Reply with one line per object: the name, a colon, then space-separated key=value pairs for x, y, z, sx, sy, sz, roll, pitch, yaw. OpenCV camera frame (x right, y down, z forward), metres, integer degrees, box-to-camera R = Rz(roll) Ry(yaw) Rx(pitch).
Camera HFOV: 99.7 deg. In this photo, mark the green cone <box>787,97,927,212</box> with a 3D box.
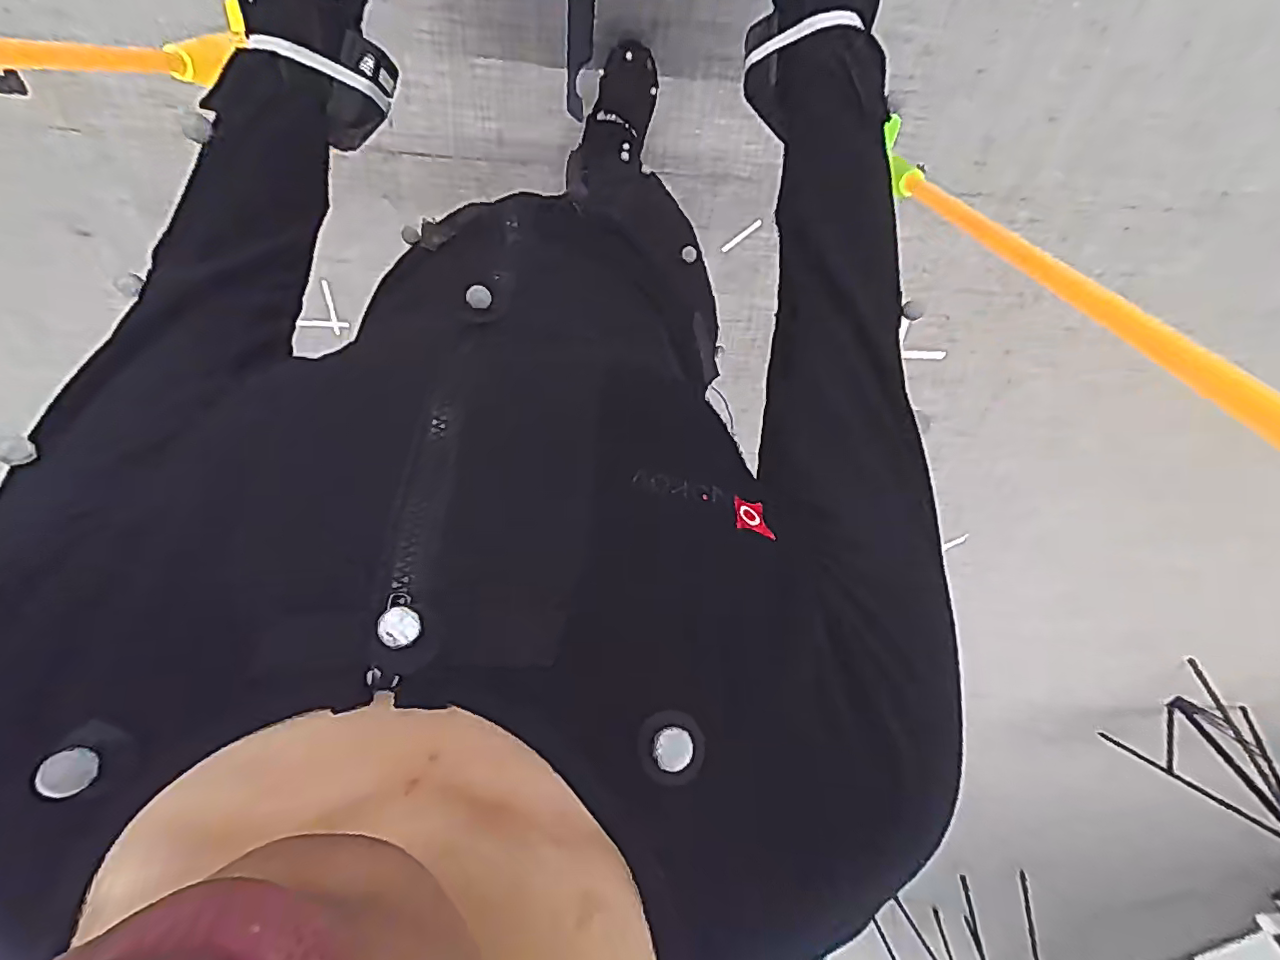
green cone: x=0.447 y=-0.605 z=1.047 sx=0.202 sy=0.368 sz=0.200 roll=5 pitch=126 yaw=-7
